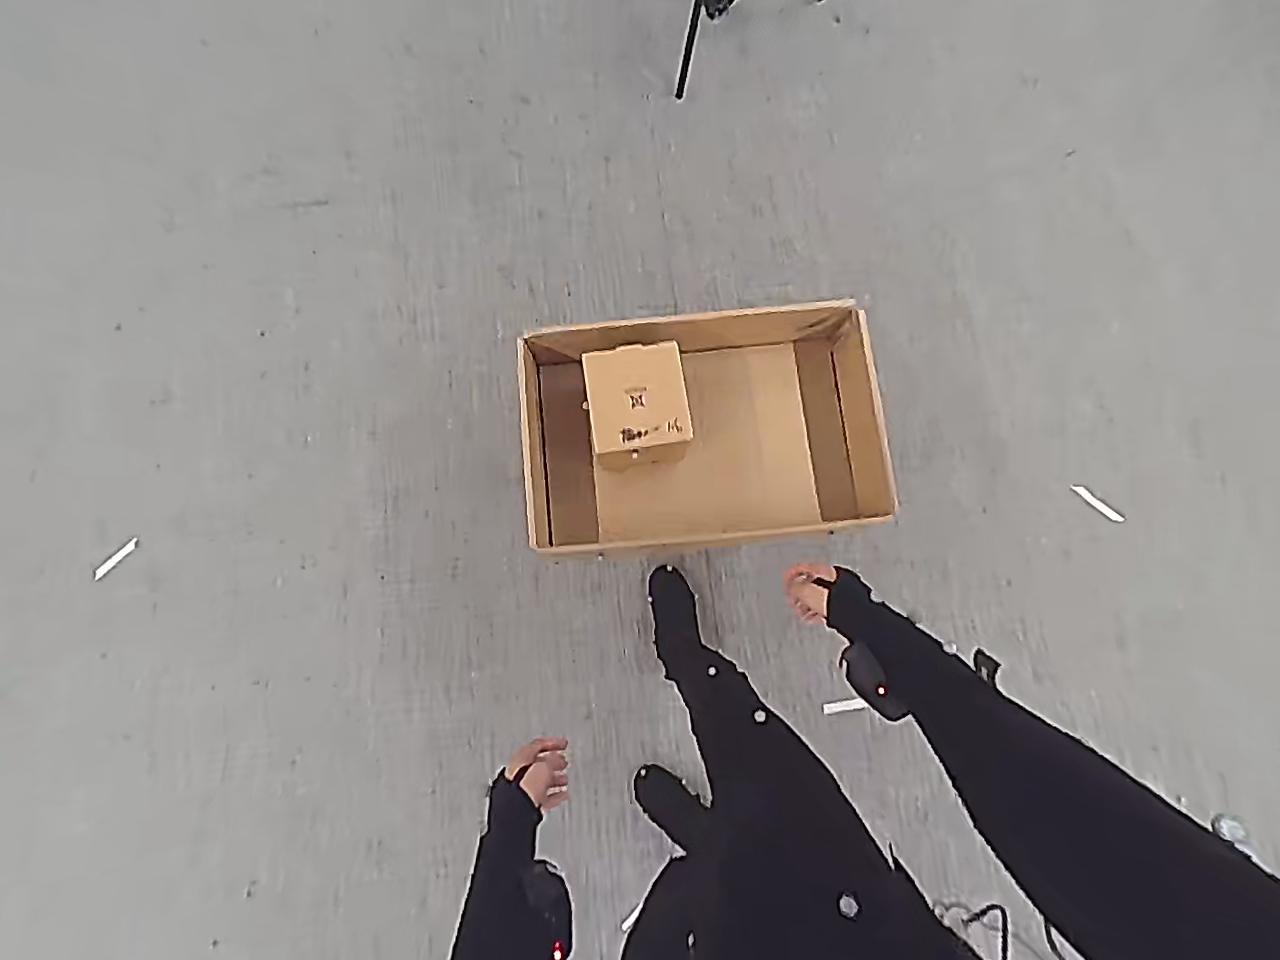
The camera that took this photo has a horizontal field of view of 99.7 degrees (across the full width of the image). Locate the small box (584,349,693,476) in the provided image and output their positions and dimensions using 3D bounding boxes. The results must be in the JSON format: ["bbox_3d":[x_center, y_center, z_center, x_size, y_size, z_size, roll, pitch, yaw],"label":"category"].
[{"bbox_3d":[-0.006,-0.115,0.977,0.168,0.176,0.179,-8,81,-2],"label":"small box"}]
